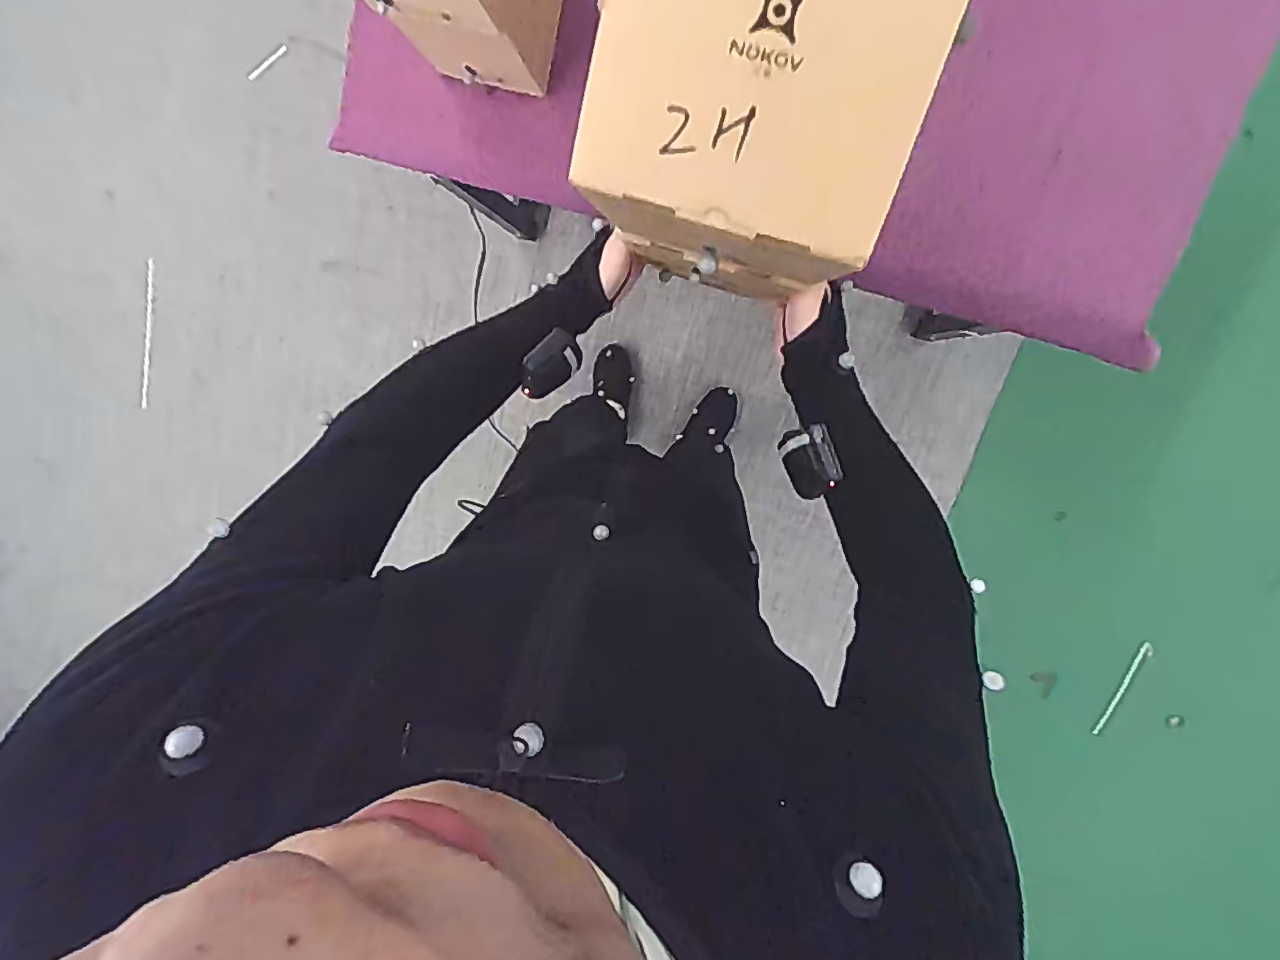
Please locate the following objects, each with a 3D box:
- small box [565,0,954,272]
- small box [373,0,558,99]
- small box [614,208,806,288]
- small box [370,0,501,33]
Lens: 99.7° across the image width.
[{"bbox_3d":[0.069,-0.243,0.333,0.168,0.176,0.179,17,108,3],"label":"small box"},{"bbox_3d":[-0.211,-0.637,0.693,0.168,0.176,0.179,15,103,5],"label":"small box"},{"bbox_3d":[0.087,-0.286,0.491,0.168,0.176,0.179,16,108,3],"label":"small box"},{"bbox_3d":[-0.233,-0.597,0.536,0.168,0.176,0.179,15,101,4],"label":"small box"}]
